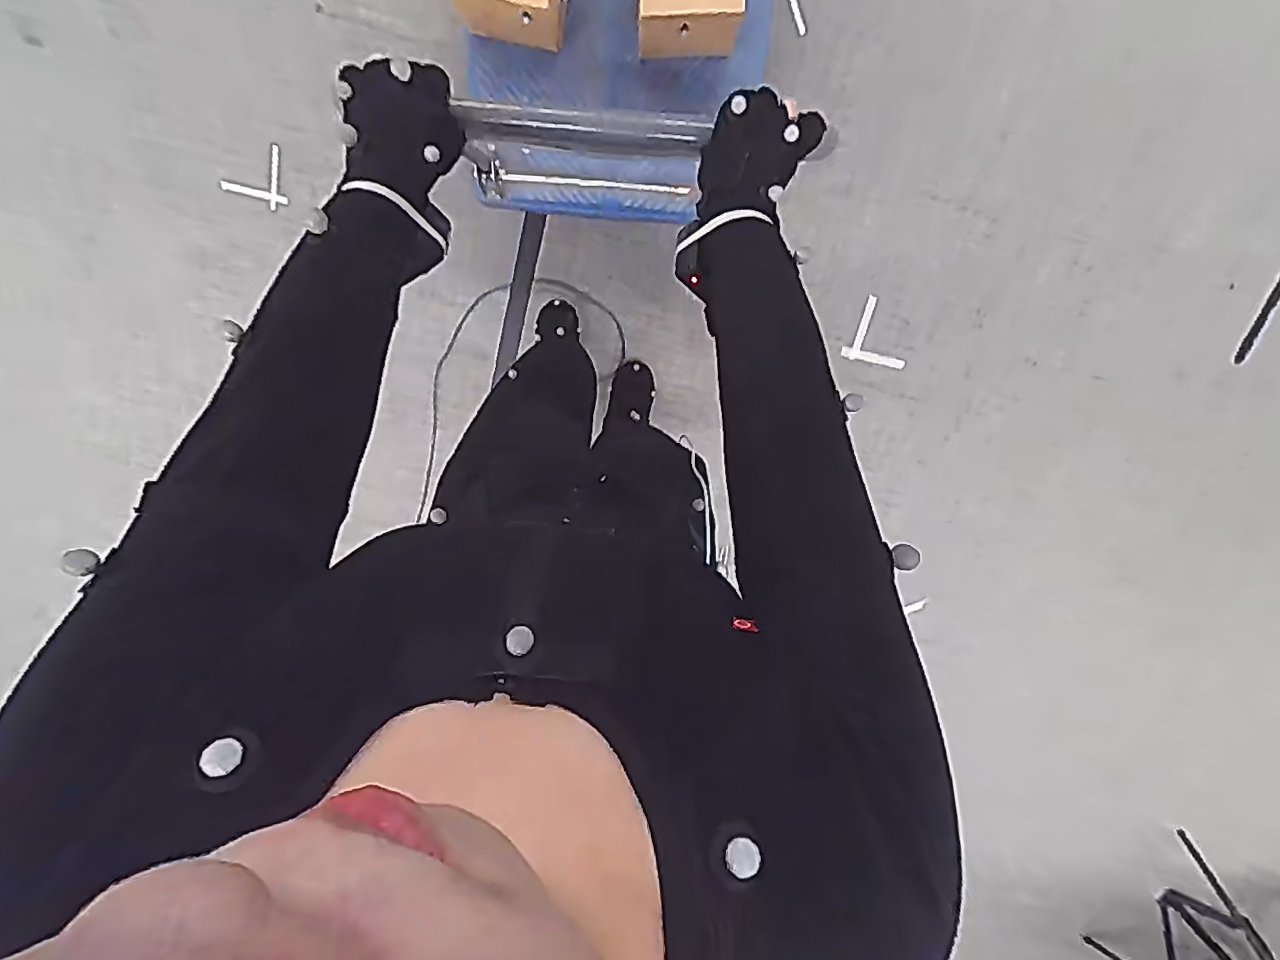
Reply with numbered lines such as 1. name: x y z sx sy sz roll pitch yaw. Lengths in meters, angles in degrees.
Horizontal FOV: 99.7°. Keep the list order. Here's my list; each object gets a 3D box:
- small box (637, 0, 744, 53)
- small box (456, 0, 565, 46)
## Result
1. small box: 0.081 -0.864 0.926 0.179 0.176 0.168 -2 109 0
2. small box: -0.223 -0.880 0.918 0.179 0.176 0.168 9 108 -5
